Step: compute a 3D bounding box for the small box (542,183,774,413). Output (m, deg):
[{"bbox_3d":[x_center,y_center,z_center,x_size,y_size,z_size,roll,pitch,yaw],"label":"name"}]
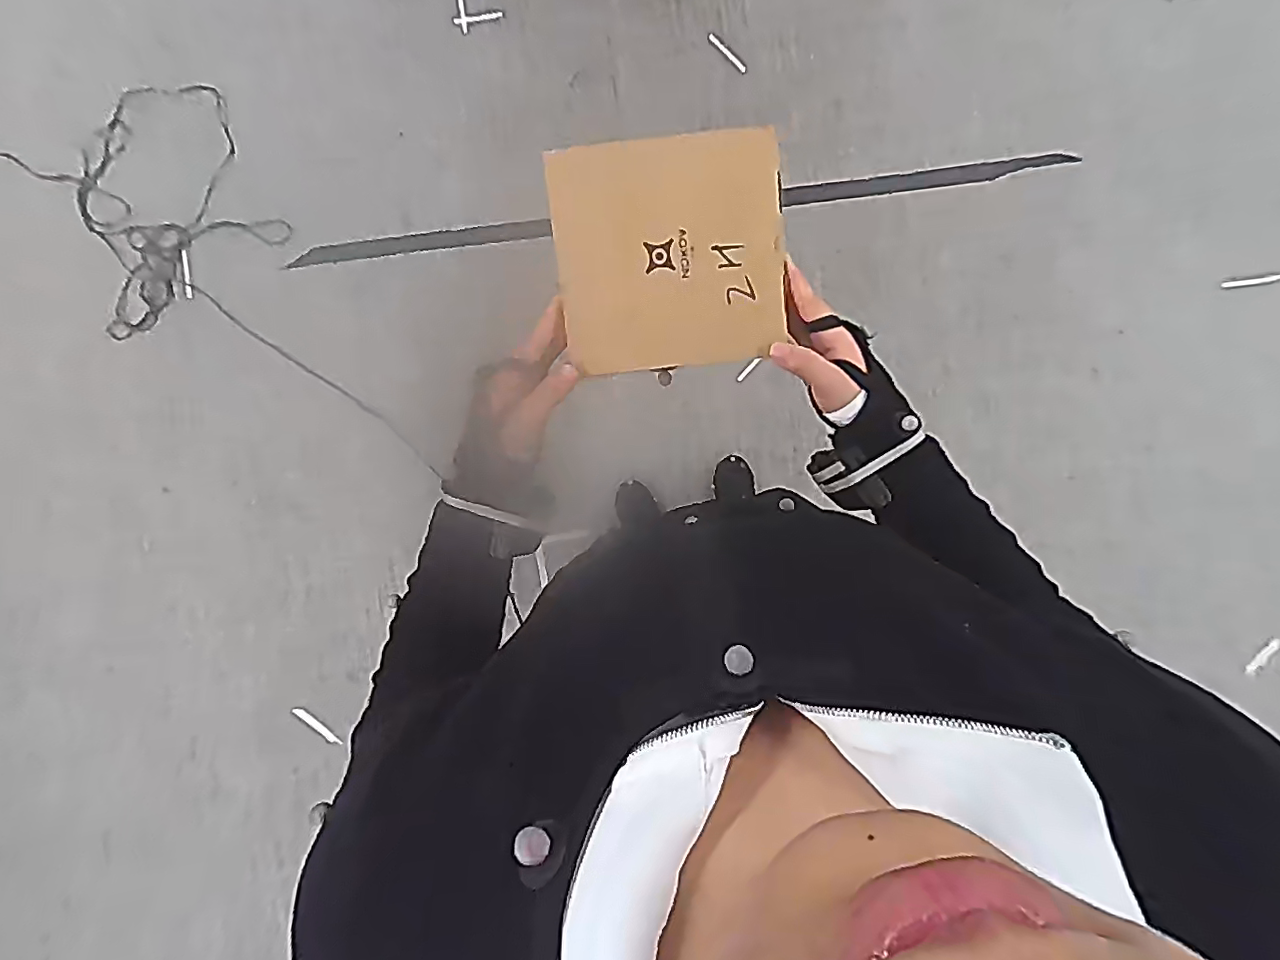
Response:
[{"bbox_3d":[0.017,-0.156,0.505,0.179,0.176,0.168,-6,103,0],"label":"small box"}]
